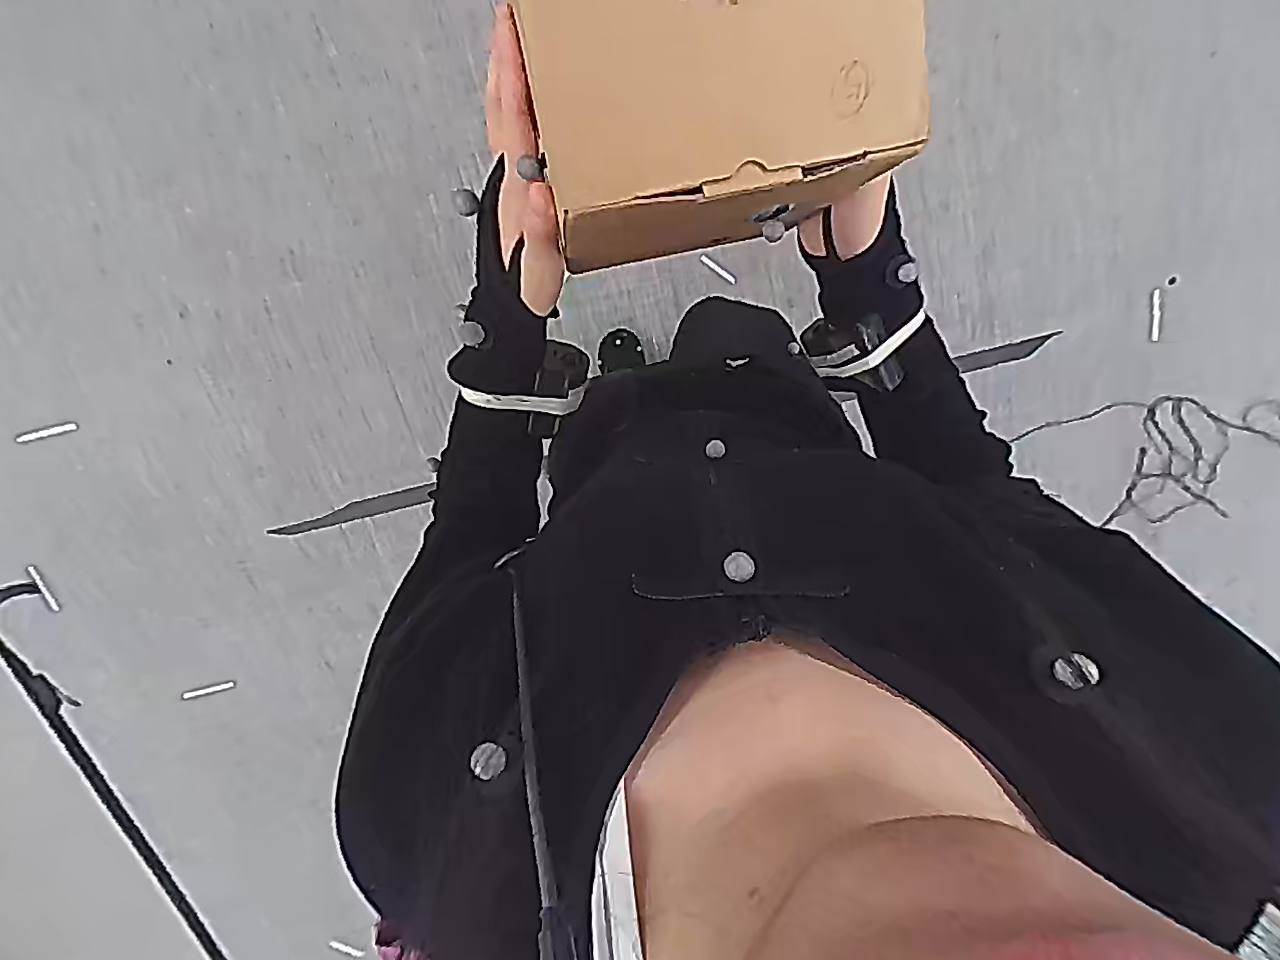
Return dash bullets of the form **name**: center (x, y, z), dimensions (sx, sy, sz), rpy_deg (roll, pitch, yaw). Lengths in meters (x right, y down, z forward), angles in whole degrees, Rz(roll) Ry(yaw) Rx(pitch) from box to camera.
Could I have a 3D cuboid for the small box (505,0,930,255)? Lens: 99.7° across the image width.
- **small box**: center (0.019, -0.230, 0.285), dimensions (0.168, 0.176, 0.179), rpy_deg (-14, 103, -5)
